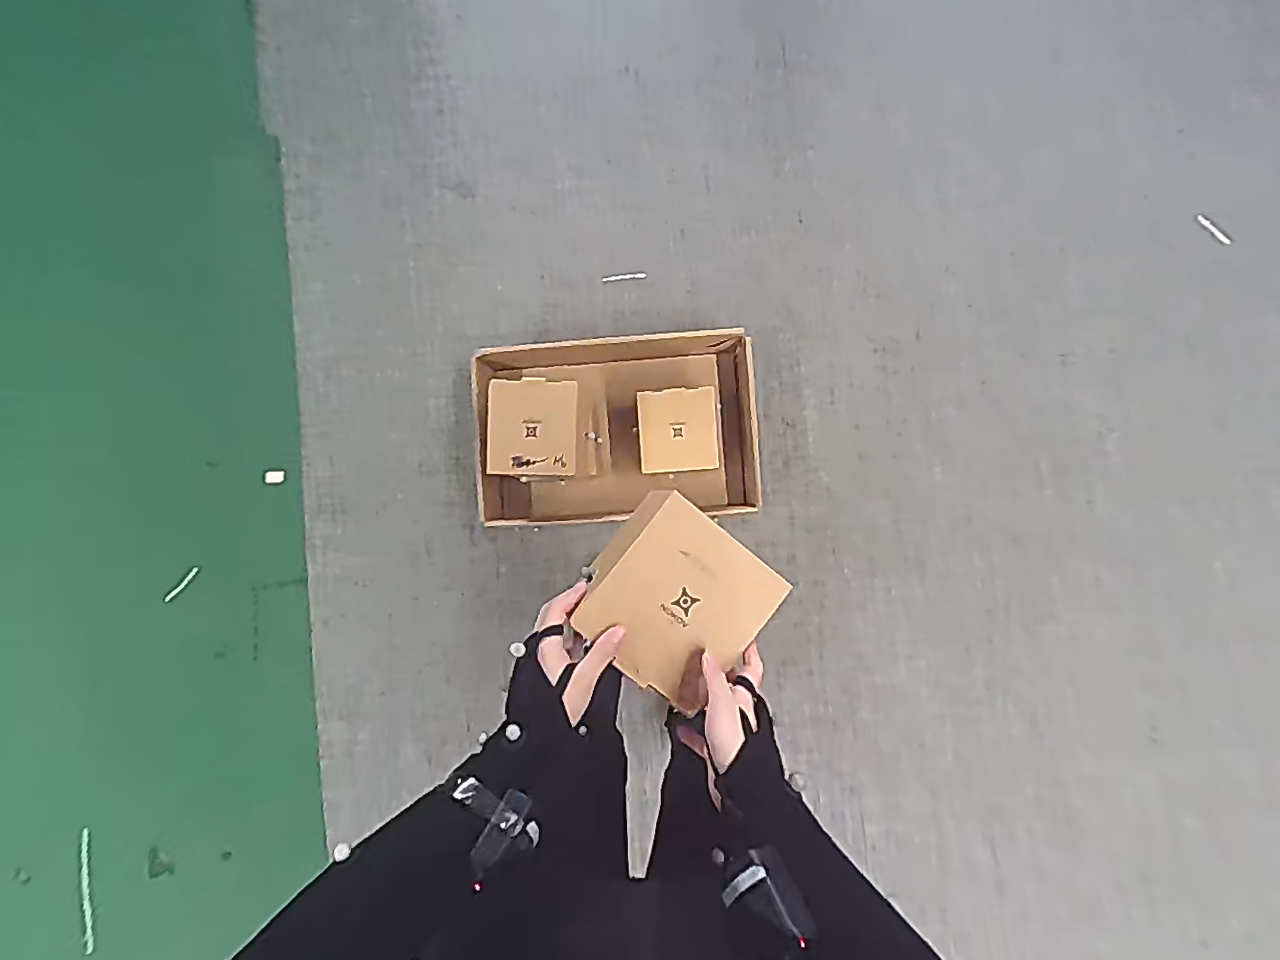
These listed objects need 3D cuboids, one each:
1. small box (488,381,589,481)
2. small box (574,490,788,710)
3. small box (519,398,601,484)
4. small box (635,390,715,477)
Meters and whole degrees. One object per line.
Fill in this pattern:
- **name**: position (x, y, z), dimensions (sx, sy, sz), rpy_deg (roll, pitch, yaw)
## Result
- **small box**: position (-0.194, -0.091, 1.075), dimensions (0.168, 0.176, 0.179), rpy_deg (2, 88, 2)
- **small box**: position (0.038, 0.129, 0.650), dimensions (0.168, 0.176, 0.179), rpy_deg (40, 84, -6)
- **small box**: position (-0.182, -0.084, 1.238), dimensions (0.168, 0.176, 0.179), rpy_deg (-5, 88, 1)
- **small box**: position (0.080, -0.100, 1.230), dimensions (0.168, 0.176, 0.179), rpy_deg (-4, 88, 3)
